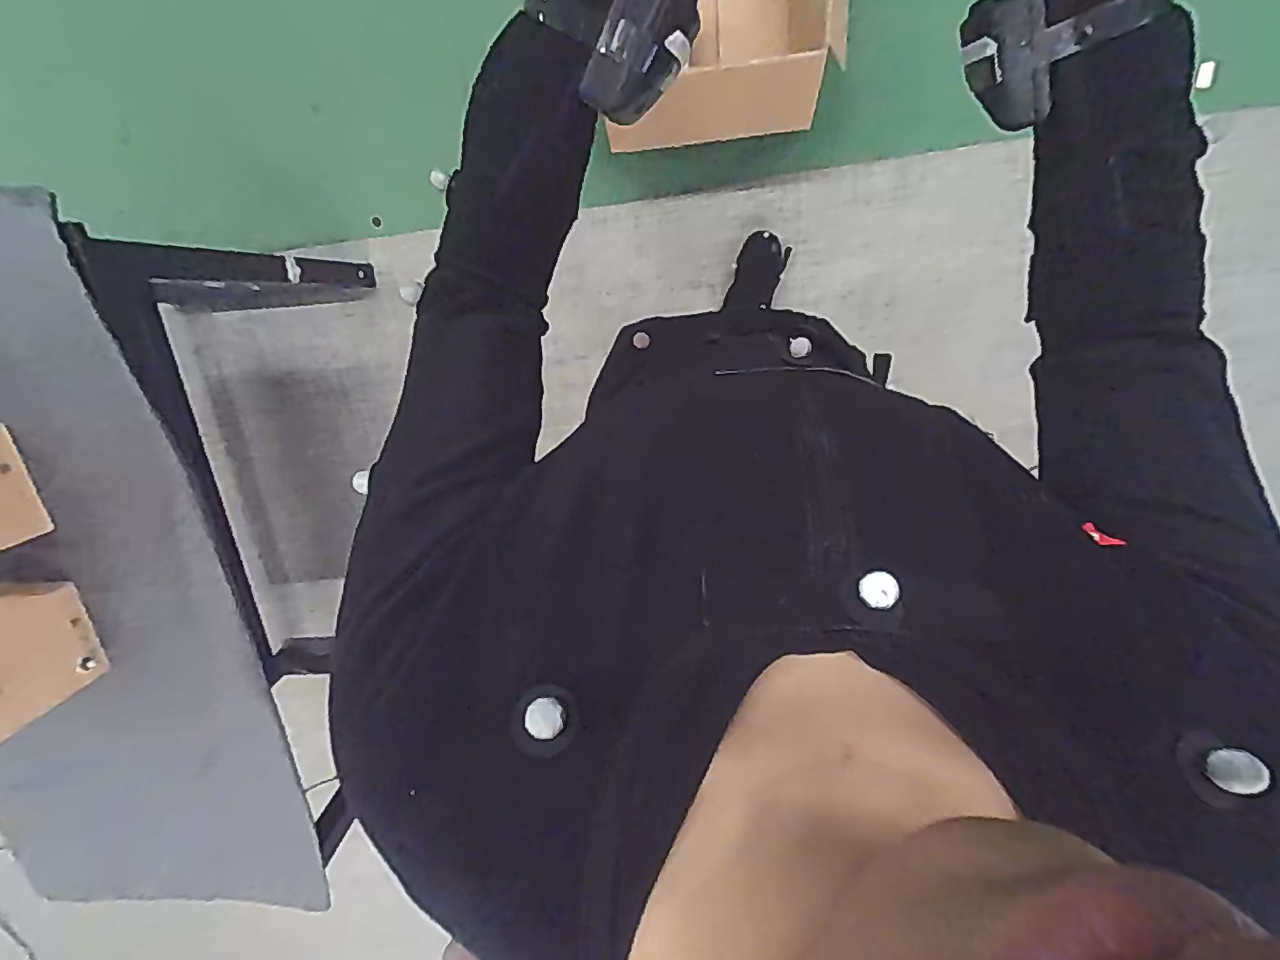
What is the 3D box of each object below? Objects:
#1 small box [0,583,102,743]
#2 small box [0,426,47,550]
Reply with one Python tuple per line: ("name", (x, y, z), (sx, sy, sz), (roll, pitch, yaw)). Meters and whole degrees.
("small box", (-0.962, 0.262, 0.798), (0.179, 0.176, 0.168), (-2, 108, 5))
("small box", (-0.968, 0.027, 0.720), (0.179, 0.176, 0.168), (-4, 109, 6))
